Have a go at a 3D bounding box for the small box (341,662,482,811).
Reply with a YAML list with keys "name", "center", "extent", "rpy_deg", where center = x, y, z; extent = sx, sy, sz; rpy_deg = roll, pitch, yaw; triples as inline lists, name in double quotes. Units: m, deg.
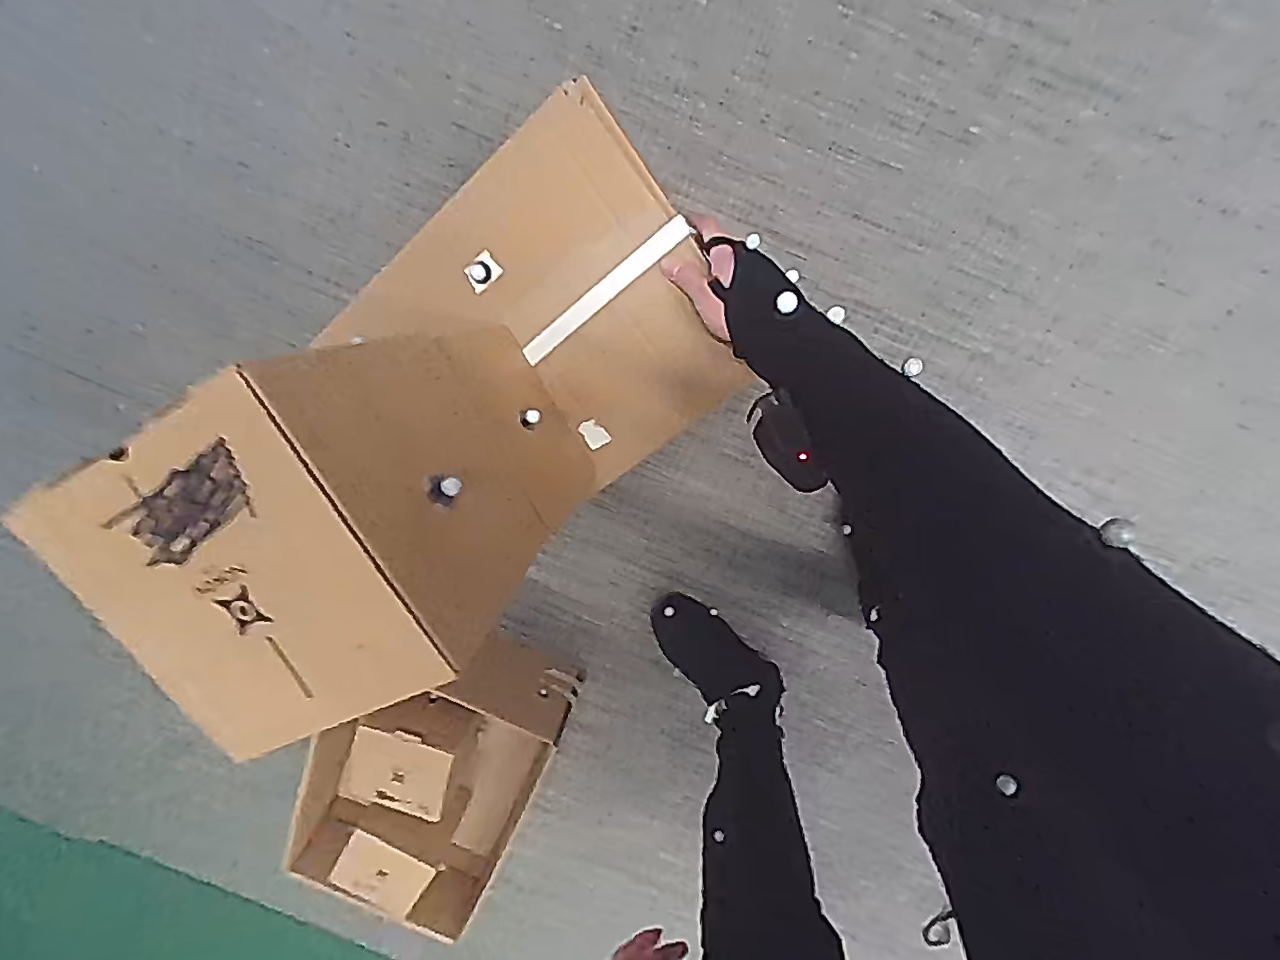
- name: "small box"
  center: [-0.403, 0.442, 0.974]
  extent: [0.168, 0.176, 0.179]
  rpy_deg: [19, 112, 0]
